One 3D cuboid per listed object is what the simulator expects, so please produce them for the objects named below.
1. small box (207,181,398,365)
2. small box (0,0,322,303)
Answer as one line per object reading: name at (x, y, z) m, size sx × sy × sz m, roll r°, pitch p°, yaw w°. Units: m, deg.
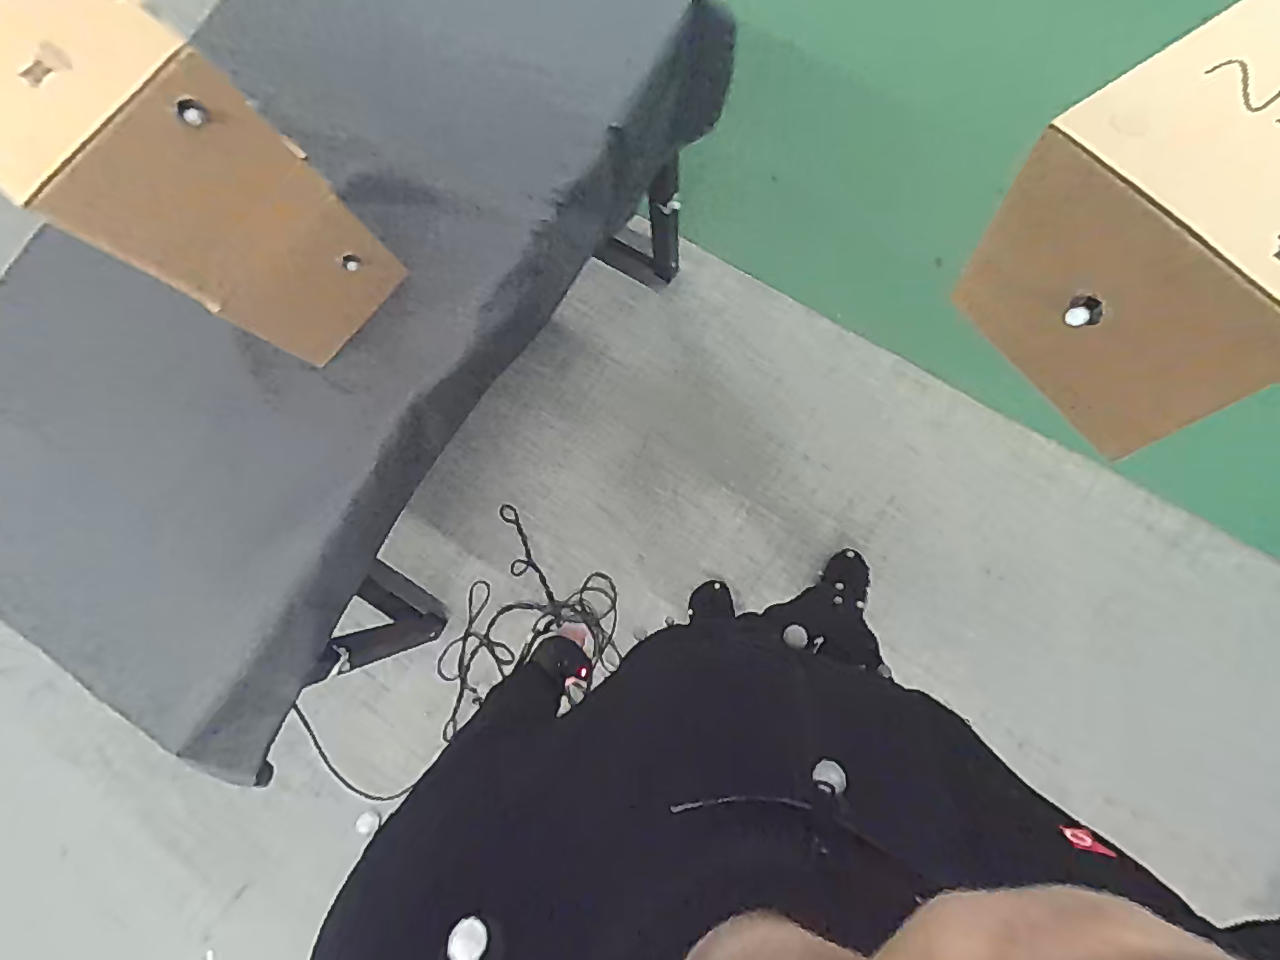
small box at (-0.427, -0.272, 0.651) m, size 0.168 × 0.176 × 0.179 m, roll 40°, pitch 87°, yaw 10°
small box at (-0.443, -0.298, 0.491) m, size 0.168 × 0.176 × 0.179 m, roll 40°, pitch 86°, yaw 10°
